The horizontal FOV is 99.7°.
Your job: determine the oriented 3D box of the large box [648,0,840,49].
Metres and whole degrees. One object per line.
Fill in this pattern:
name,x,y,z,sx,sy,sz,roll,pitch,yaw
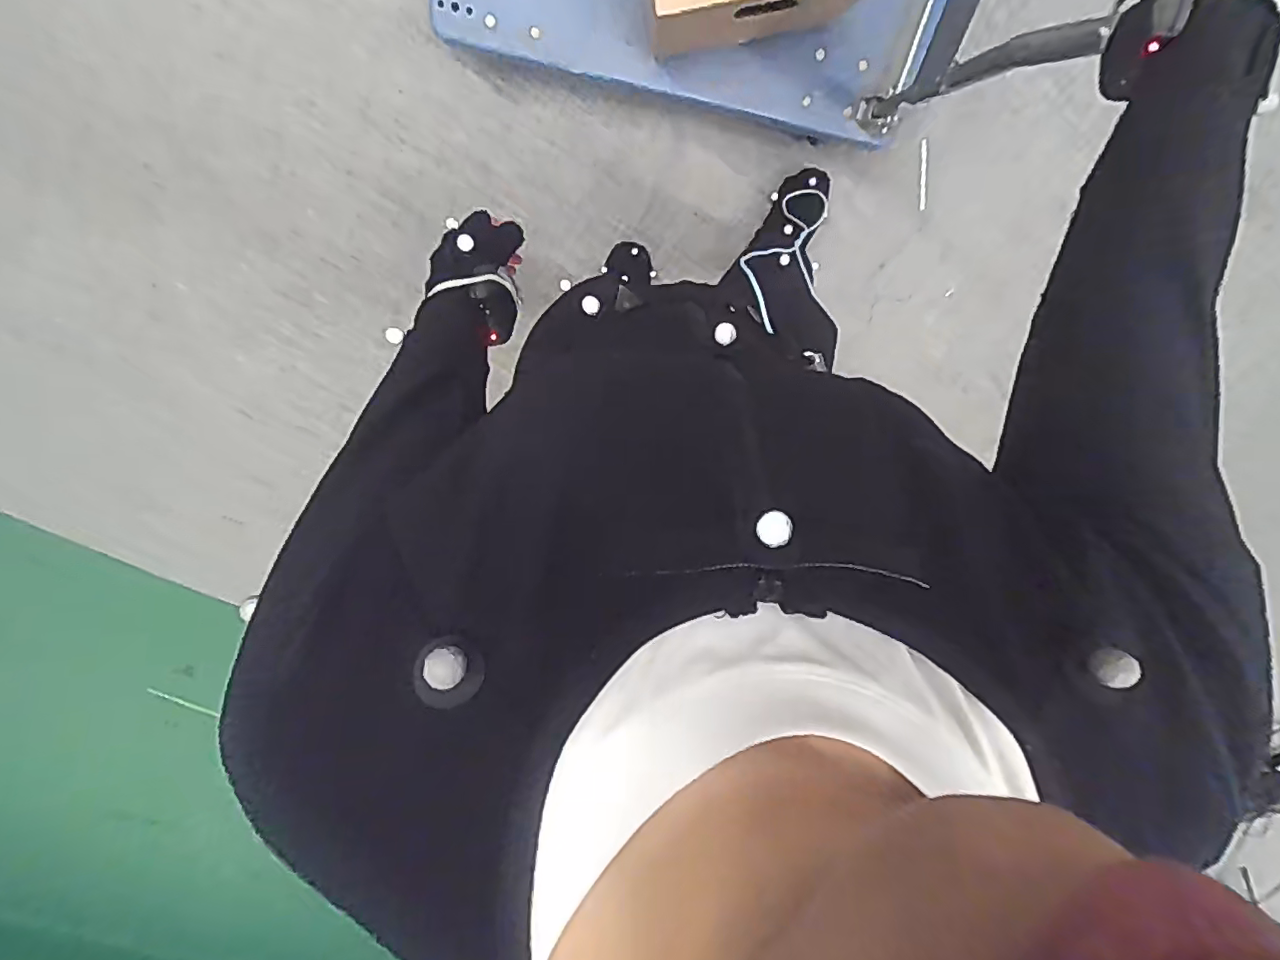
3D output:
large box,0.140,-0.875,0.716,0.320,0.320,0.408,-8,120,6
